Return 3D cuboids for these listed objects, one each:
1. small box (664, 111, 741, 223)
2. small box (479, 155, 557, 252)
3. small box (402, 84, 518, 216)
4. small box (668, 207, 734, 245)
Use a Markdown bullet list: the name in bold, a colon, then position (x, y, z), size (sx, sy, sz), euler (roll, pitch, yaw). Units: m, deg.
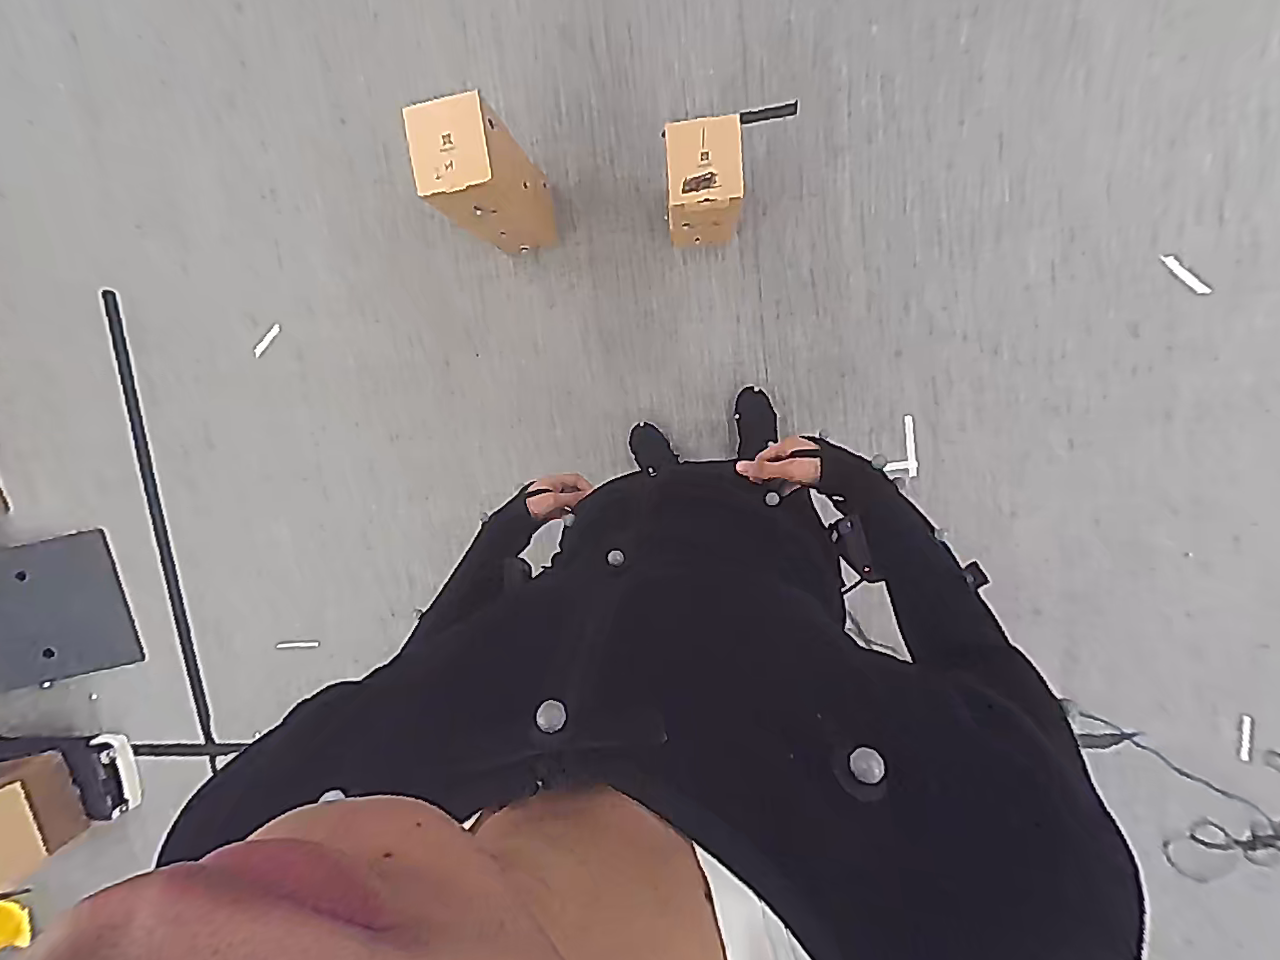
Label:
- **small box**: position (0.146, -0.718, 1.264), size (0.168, 0.176, 0.179), euler (-3, 98, 6)
- **small box**: position (-0.335, -0.748, 1.479), size (0.168, 0.176, 0.179), euler (-7, 97, 8)
- **small box**: position (-0.377, -0.695, 1.158), size (0.168, 0.176, 0.179), euler (-7, 98, 9)
- **small box**: position (0.157, -0.741, 1.427), size (0.168, 0.176, 0.179), euler (-3, 99, 6)
